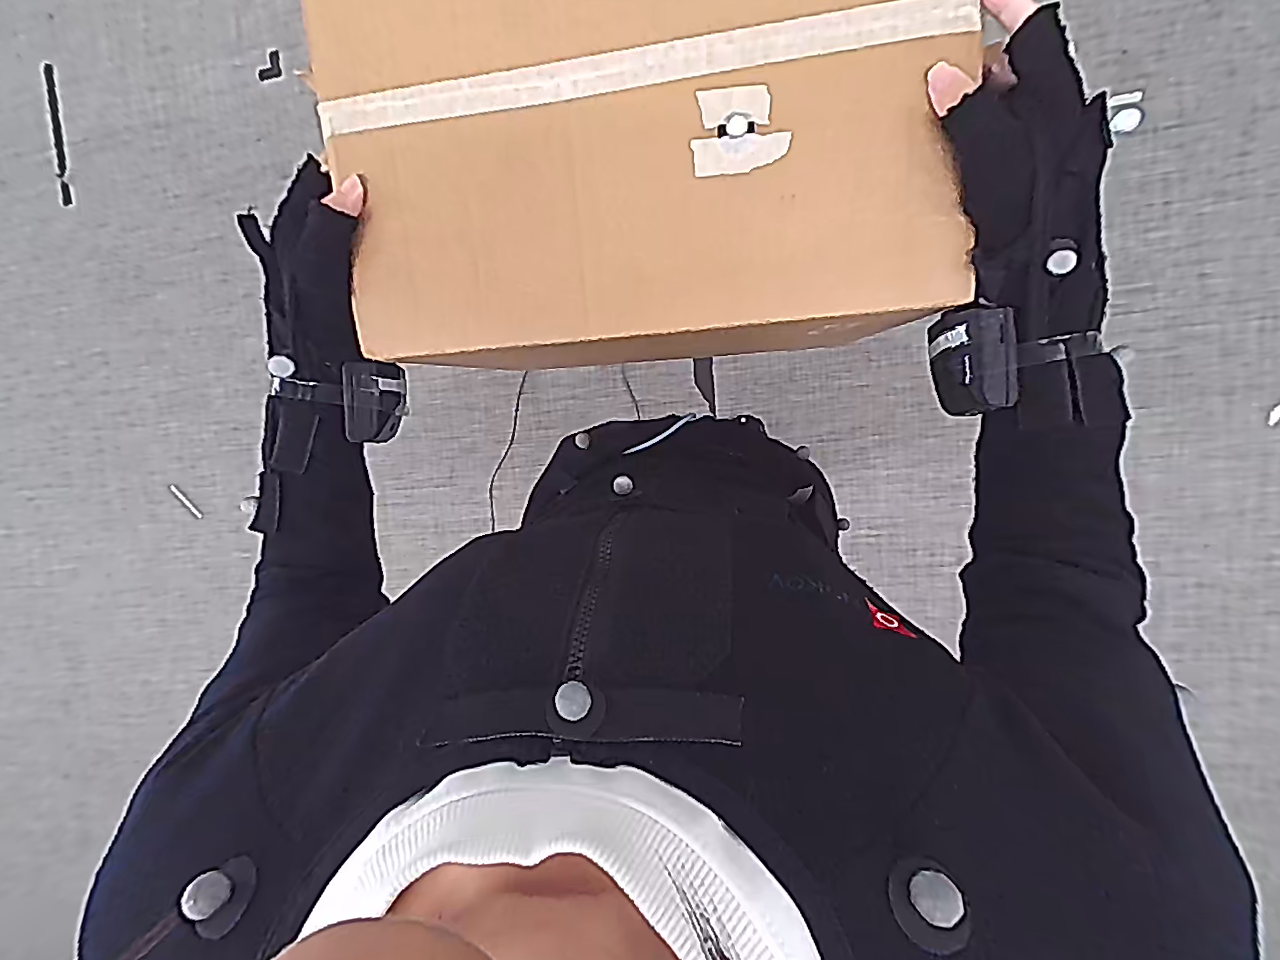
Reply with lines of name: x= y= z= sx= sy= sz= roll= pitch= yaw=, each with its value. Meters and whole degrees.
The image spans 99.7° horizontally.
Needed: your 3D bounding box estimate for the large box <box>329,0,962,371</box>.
large box: x=0.011 y=-0.280 z=0.493 sx=0.408 sy=0.320 sz=0.320 roll=-4 pitch=100 yaw=7
